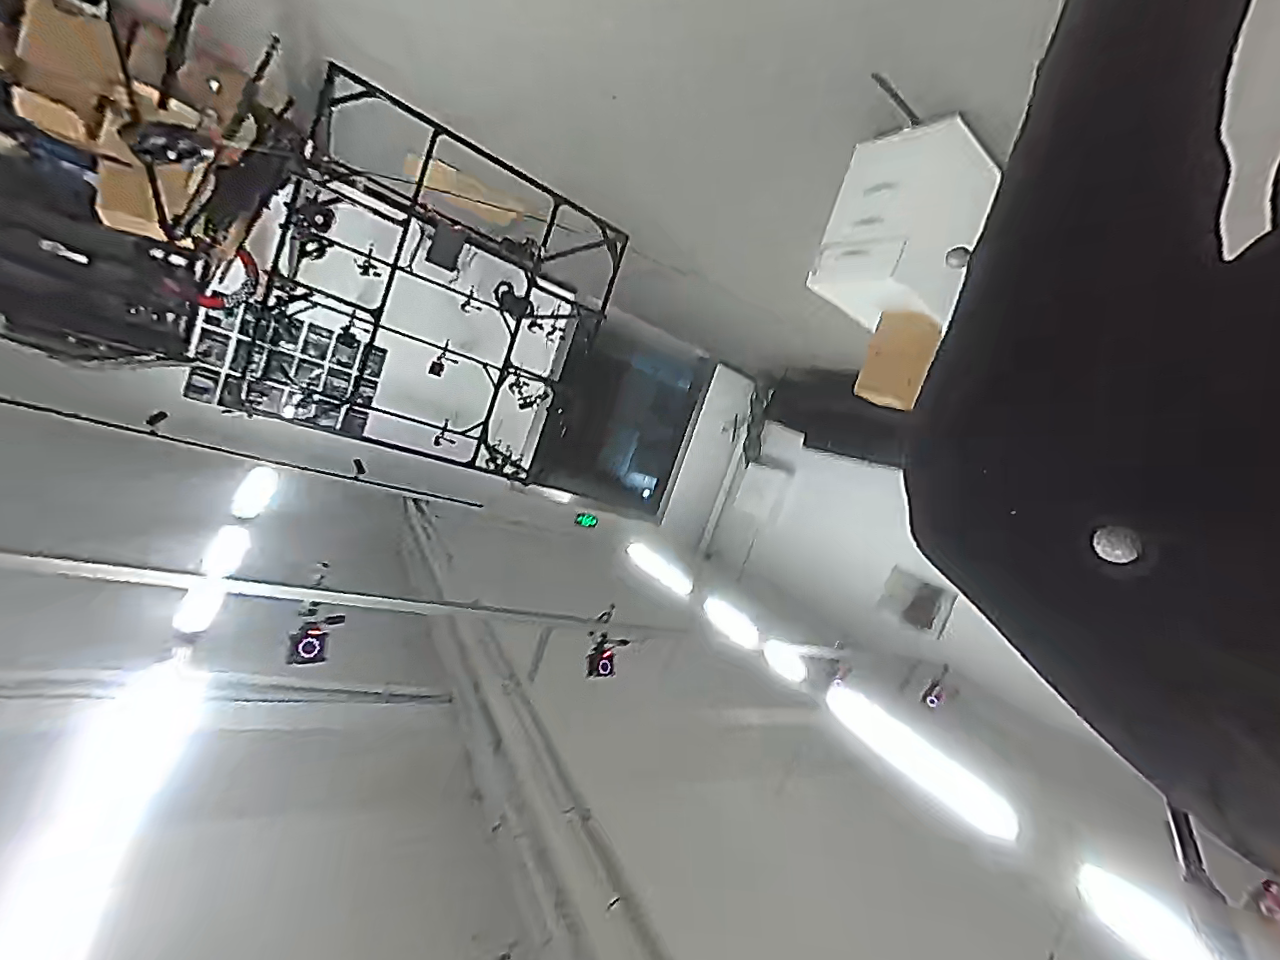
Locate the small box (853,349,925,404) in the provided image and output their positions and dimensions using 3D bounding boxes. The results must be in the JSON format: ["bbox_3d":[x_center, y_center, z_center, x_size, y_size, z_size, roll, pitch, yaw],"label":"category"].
[{"bbox_3d":[0.986,-0.412,2.137,0.179,0.176,0.168,14,-171,-31],"label":"small box"}]

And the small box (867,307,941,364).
[{"bbox_3d":[1.034,-0.568,2.117,0.168,0.176,0.179,14,-173,-36],"label":"small box"}]
